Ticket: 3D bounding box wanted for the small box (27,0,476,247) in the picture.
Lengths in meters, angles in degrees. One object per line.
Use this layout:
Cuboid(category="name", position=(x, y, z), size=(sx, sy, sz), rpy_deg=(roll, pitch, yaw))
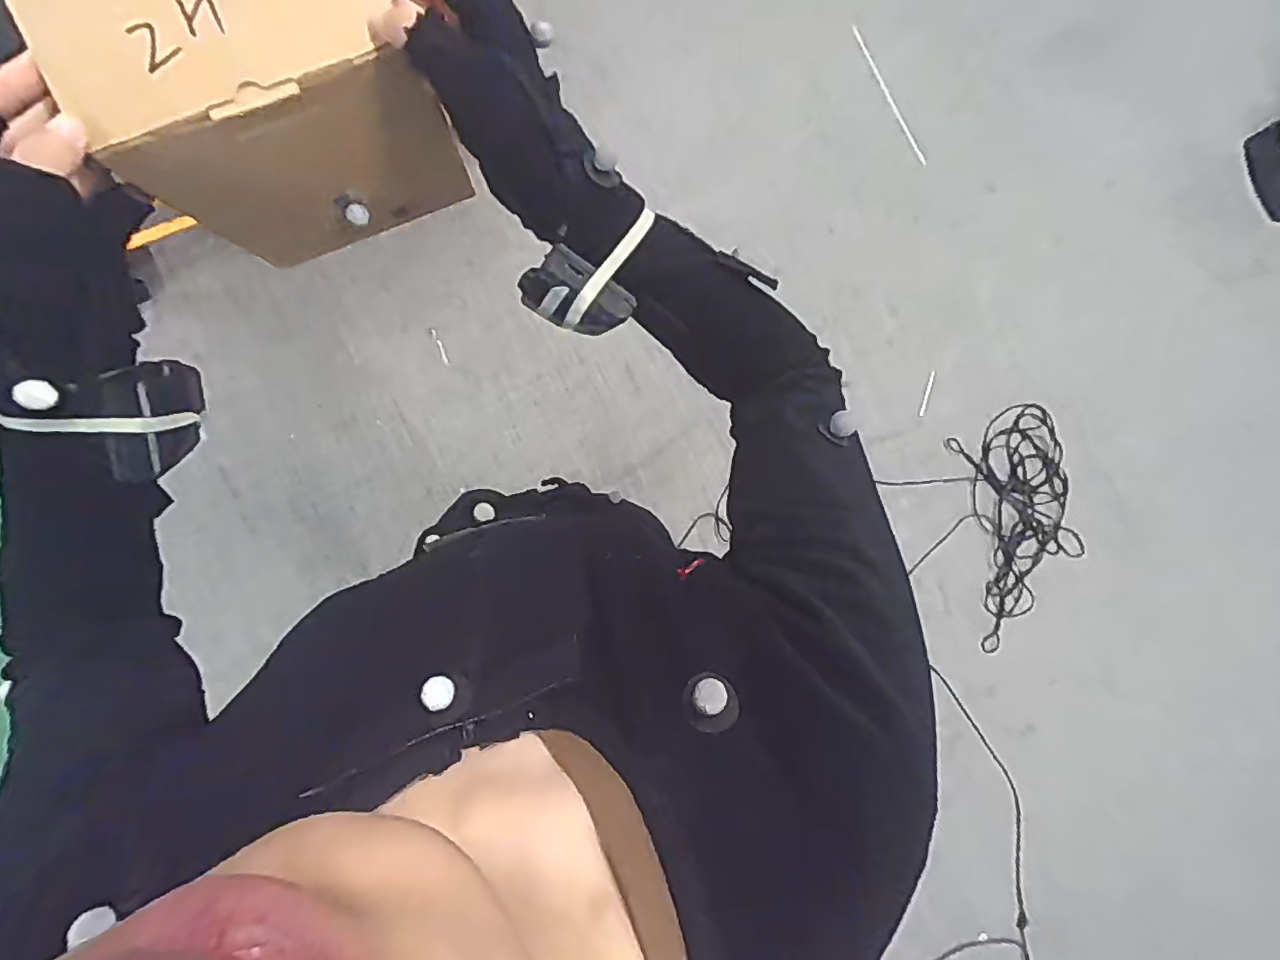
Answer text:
Cuboid(category="small box", position=(-0.223, -0.280, 0.332), size=(0.168, 0.176, 0.179), rpy_deg=(-24, 94, -4))
